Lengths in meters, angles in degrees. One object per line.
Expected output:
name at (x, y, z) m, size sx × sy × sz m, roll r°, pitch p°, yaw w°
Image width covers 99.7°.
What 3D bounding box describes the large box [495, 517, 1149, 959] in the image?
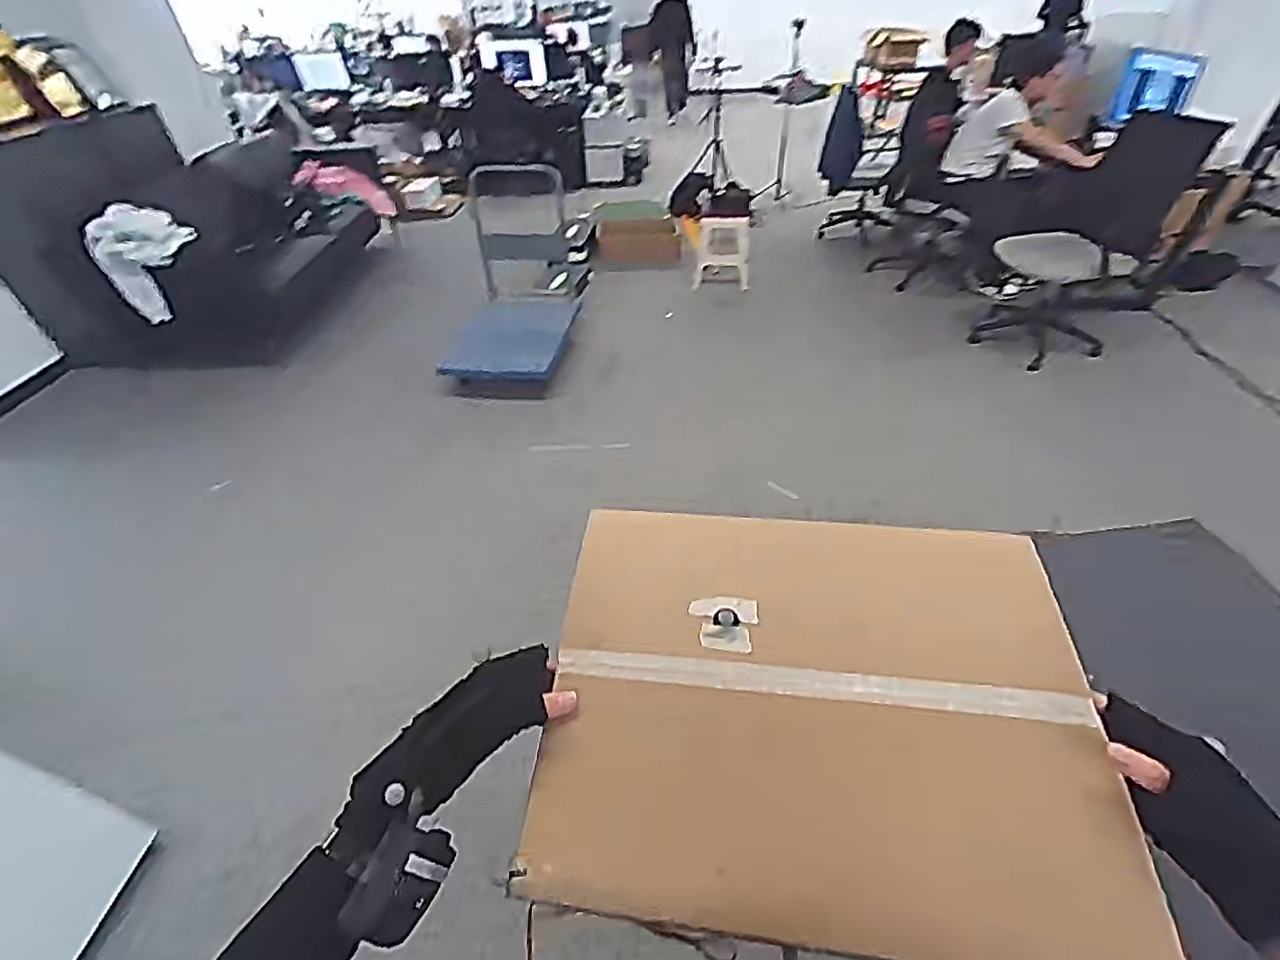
large box at (0.130, 0.252, 0.538) m, size 0.408 × 0.320 × 0.320 m, roll 2°, pitch 52°, yaw 9°
